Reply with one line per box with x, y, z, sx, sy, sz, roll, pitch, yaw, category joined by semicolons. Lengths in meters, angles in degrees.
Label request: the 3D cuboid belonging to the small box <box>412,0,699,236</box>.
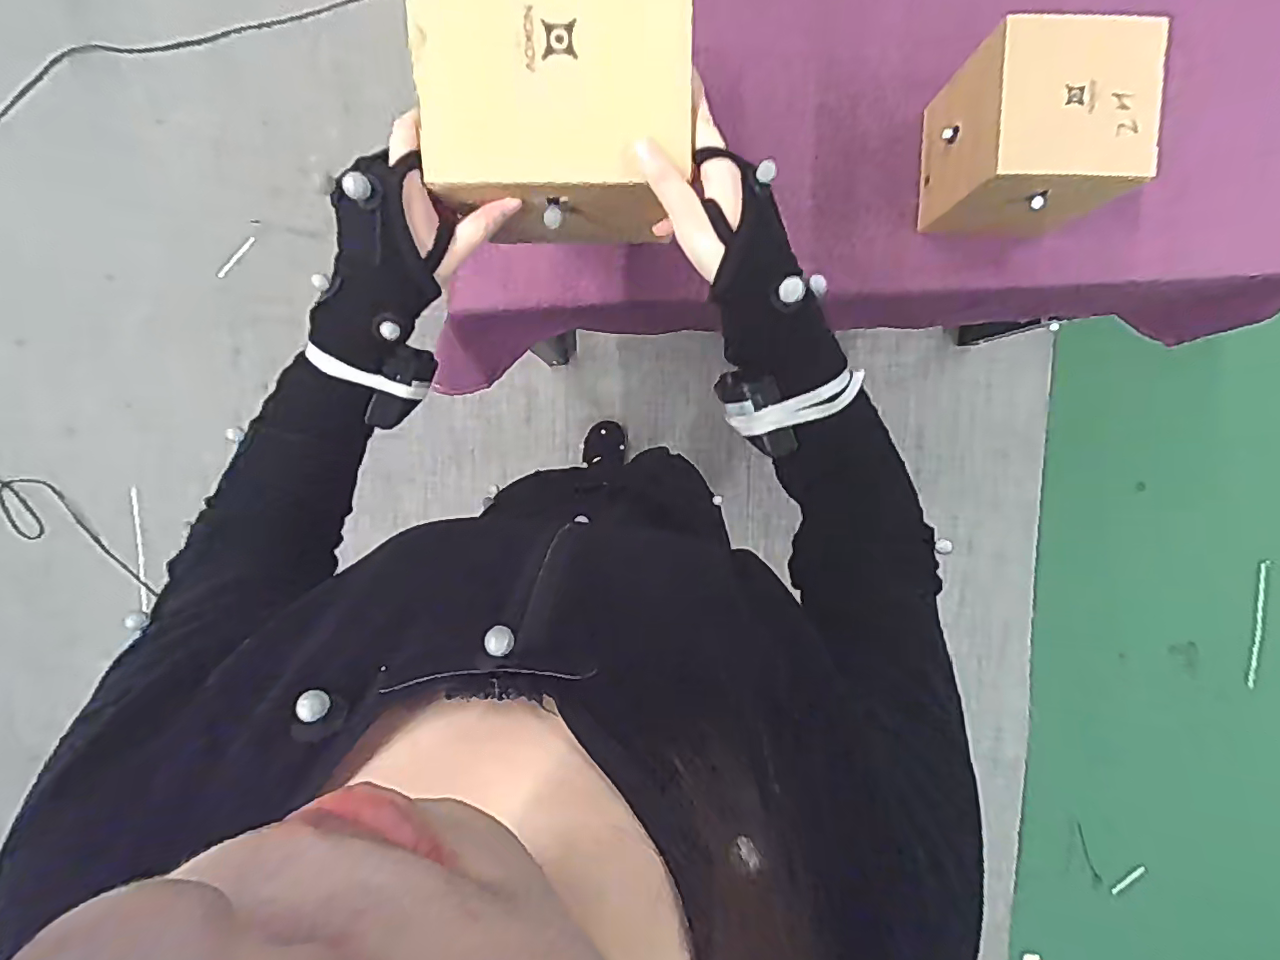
-0.052;-0.291;0.408;0.179;0.176;0.168;0;102;0;small box

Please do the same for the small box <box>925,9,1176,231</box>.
0.472;-0.414;0.651;0.179;0.176;0.168;2;96;-1;small box
